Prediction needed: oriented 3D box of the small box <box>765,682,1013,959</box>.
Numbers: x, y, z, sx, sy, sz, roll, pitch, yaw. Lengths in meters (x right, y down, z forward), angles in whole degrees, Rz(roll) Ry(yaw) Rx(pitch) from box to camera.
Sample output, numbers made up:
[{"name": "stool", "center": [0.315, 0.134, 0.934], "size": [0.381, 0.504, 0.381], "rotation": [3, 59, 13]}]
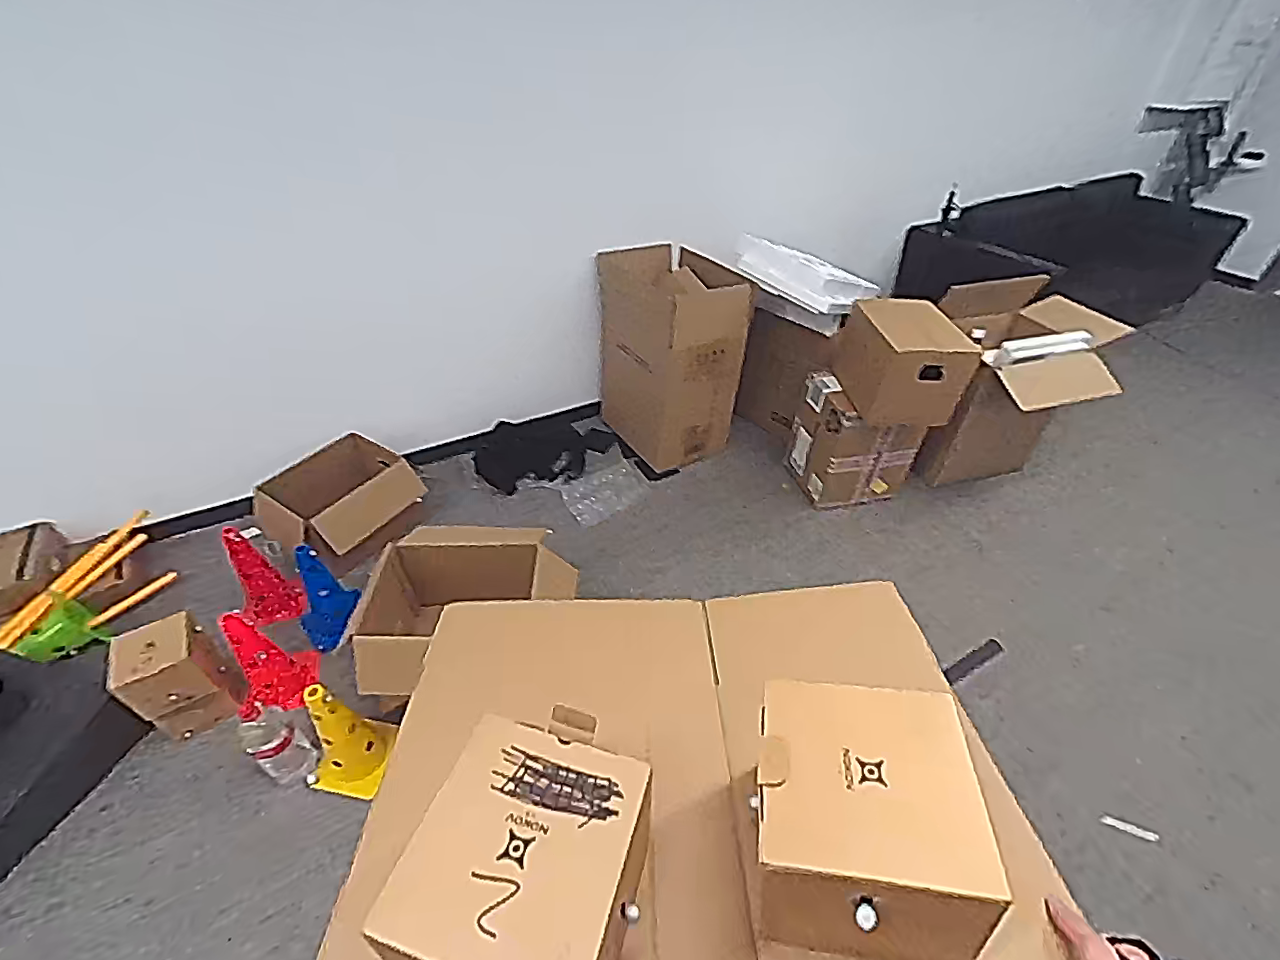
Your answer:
[{"name": "small box", "center": [0.211, 0.320, 0.513], "size": [0.179, 0.176, 0.168], "rotation": [-1, 35, 14]}]
